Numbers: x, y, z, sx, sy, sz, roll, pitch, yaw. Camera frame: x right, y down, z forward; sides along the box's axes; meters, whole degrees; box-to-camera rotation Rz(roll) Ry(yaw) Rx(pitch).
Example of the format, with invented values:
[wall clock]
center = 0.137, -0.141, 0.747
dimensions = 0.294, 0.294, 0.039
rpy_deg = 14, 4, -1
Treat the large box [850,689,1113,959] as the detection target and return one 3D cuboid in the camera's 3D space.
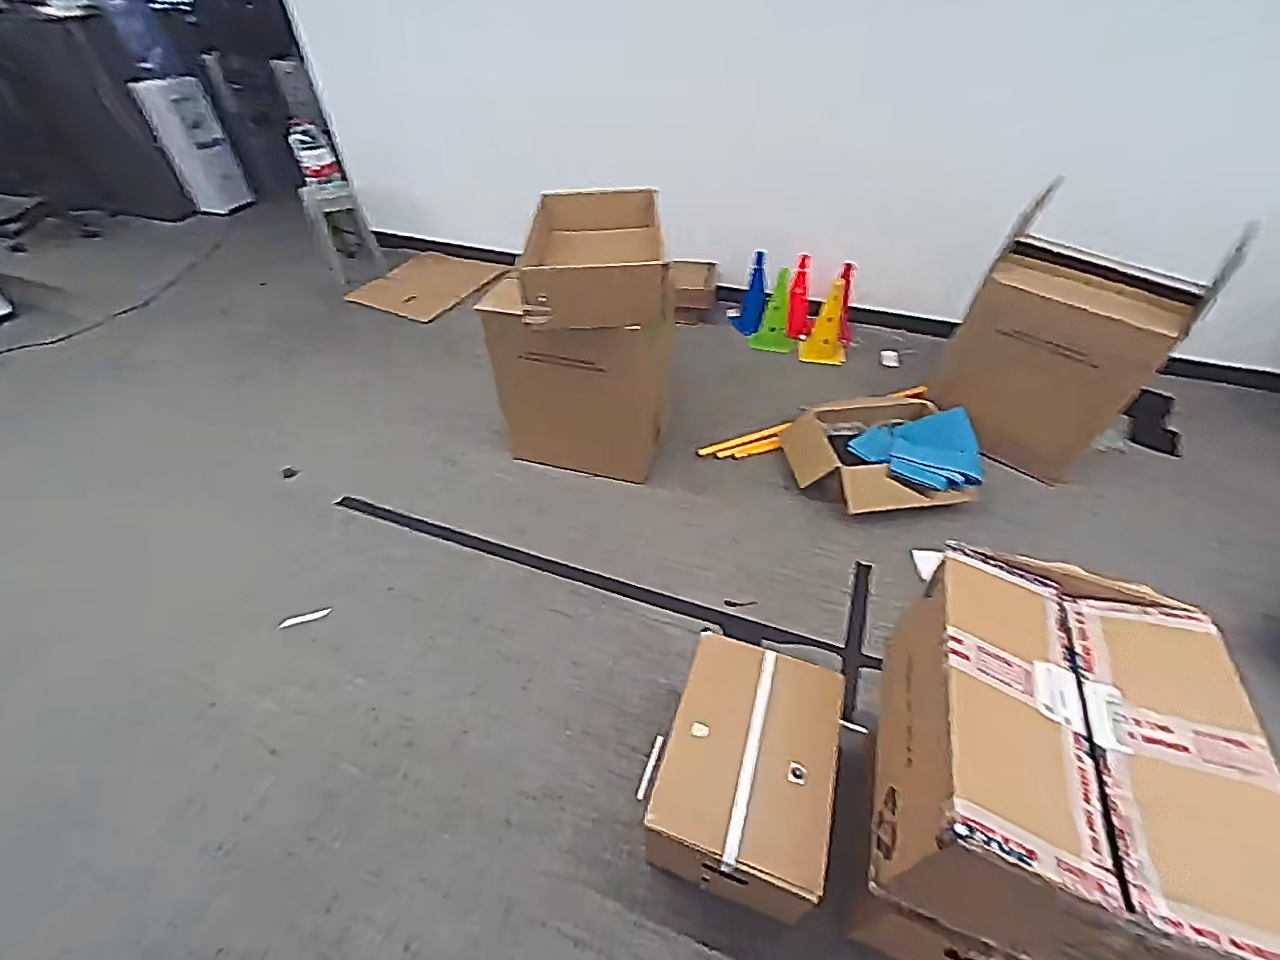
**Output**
[large box]
center = 0.621, 0.700, 1.055
dimensions = 0.320, 0.320, 0.408
rpy_deg = 14, 47, 15
